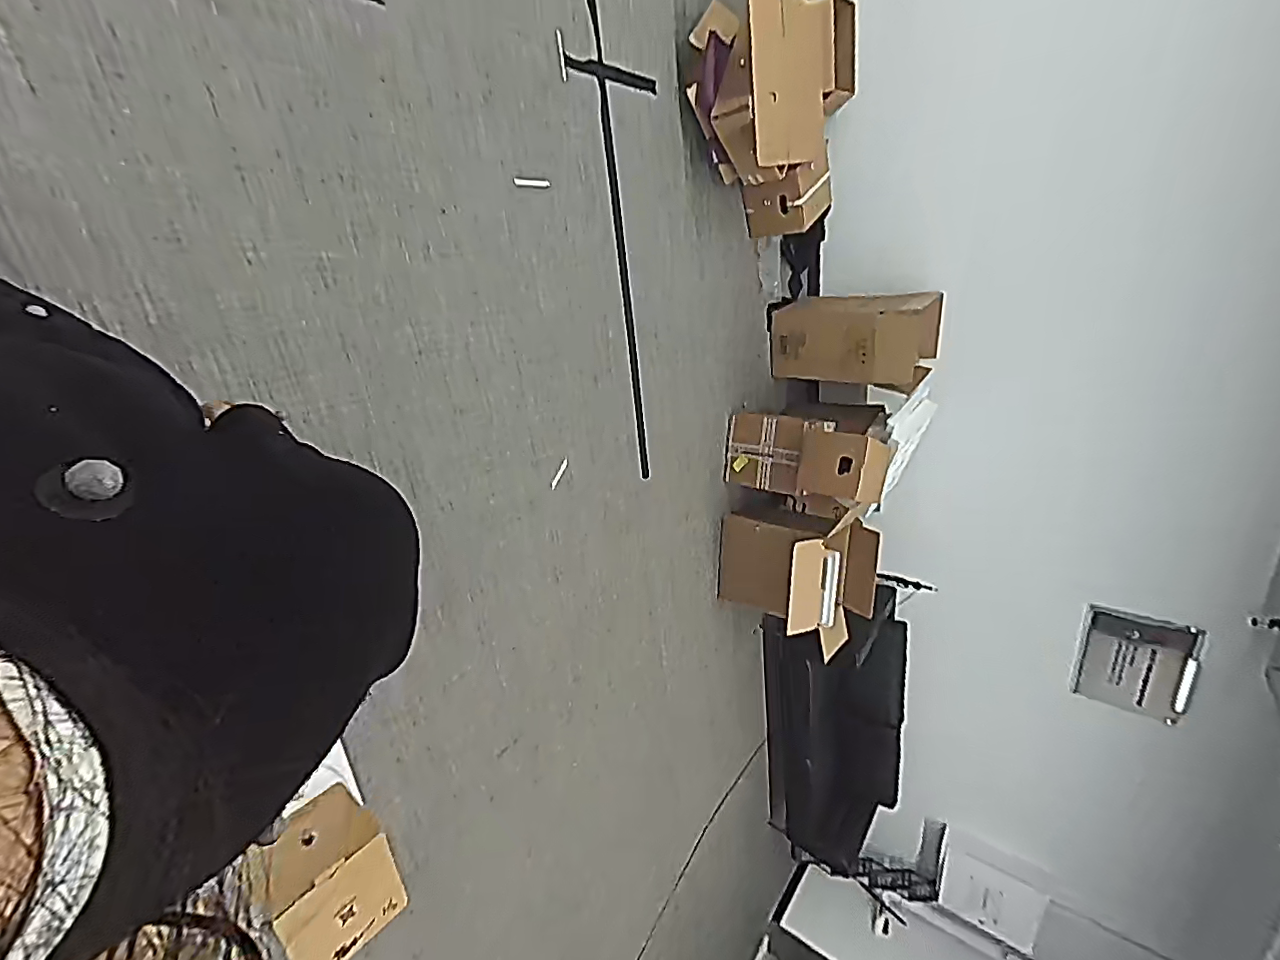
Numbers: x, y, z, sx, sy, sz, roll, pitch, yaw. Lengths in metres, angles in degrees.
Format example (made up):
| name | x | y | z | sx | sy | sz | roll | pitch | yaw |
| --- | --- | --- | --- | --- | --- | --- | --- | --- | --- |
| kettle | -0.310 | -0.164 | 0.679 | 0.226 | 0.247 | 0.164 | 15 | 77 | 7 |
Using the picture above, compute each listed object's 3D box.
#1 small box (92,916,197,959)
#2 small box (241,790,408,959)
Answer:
| name | x | y | z | sx | sy | sz | roll | pitch | yaw |
| --- | --- | --- | --- | --- | --- | --- | --- | --- | --- |
| small box | -0.675 | 0.734 | 0.712 | 0.168 | 0.176 | 0.179 | -27 | 119 | -46 |
| small box | -0.518 | 0.650 | 0.889 | 0.168 | 0.176 | 0.179 | -26 | 117 | -45 |
